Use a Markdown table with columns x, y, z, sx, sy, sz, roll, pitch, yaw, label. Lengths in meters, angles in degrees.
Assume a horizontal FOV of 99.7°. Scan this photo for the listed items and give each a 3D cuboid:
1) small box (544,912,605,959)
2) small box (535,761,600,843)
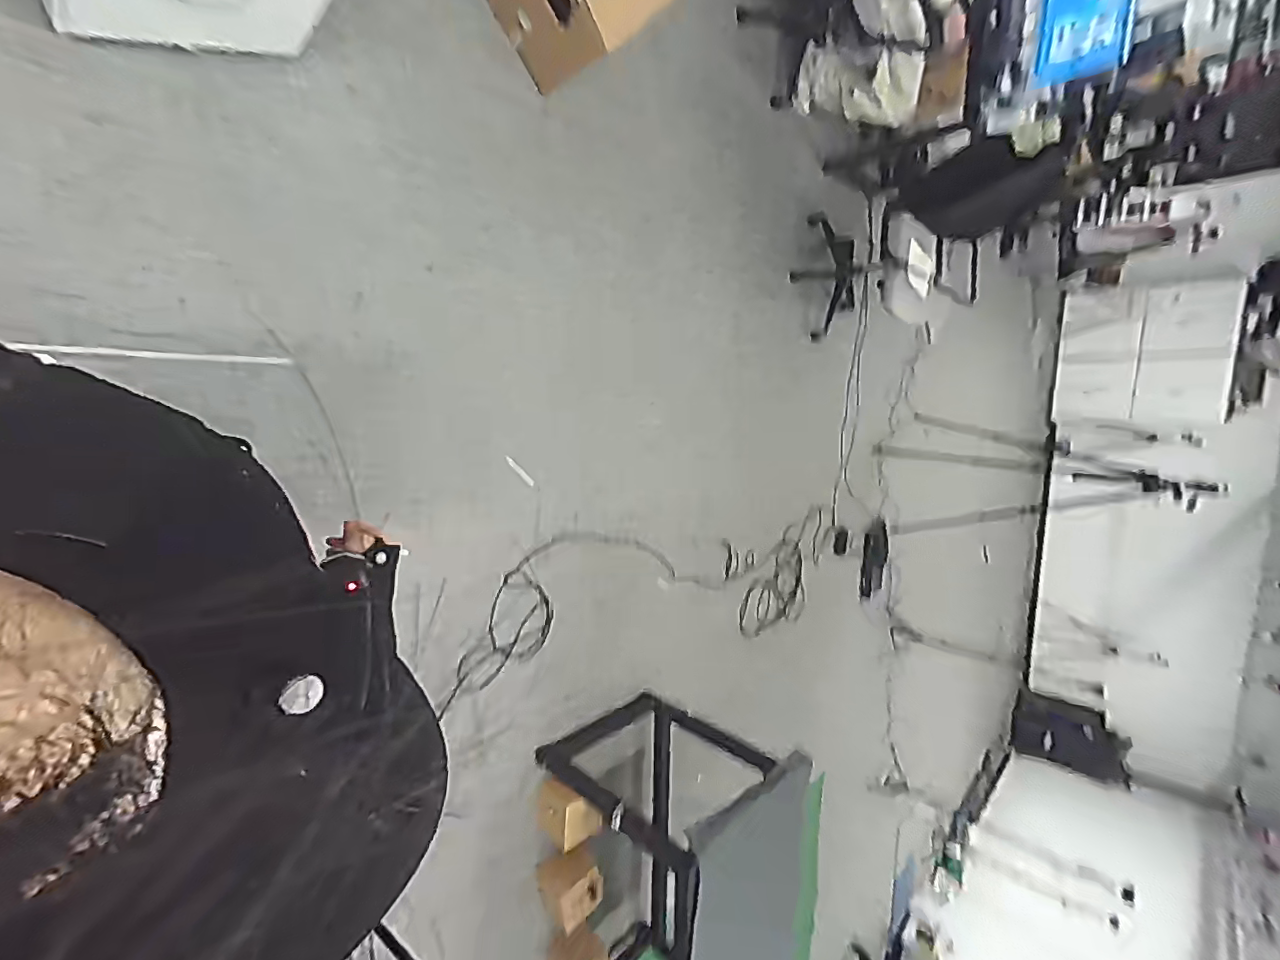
| x | y | z | sx | sy | sz | roll | pitch | yaw | label |
| --- | --- | --- | --- | --- | --- | --- | --- | --- | --- |
| -0.255 | 1.839 | 2.082 | 0.179 | 0.176 | 0.168 | -14 | 106 | -44 | small box |
| -0.268 | 1.167 | 1.976 | 0.179 | 0.176 | 0.168 | -2 | 97 | -46 | small box |
